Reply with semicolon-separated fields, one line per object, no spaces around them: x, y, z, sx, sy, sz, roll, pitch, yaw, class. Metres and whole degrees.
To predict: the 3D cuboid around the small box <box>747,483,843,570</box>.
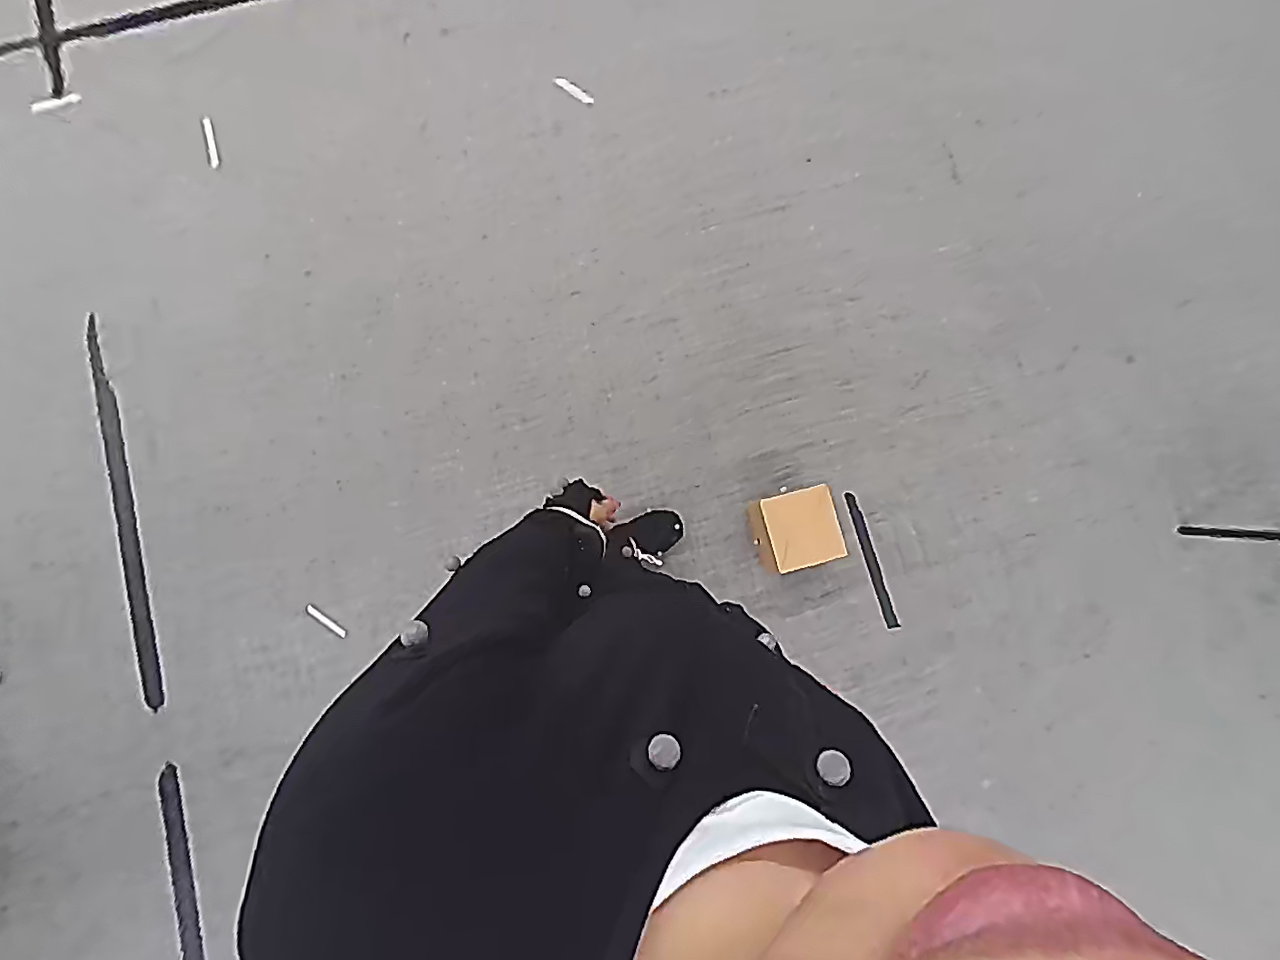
0.376;0.116;1.324;0.168;0.176;0.179;-14;85;-2;small box
